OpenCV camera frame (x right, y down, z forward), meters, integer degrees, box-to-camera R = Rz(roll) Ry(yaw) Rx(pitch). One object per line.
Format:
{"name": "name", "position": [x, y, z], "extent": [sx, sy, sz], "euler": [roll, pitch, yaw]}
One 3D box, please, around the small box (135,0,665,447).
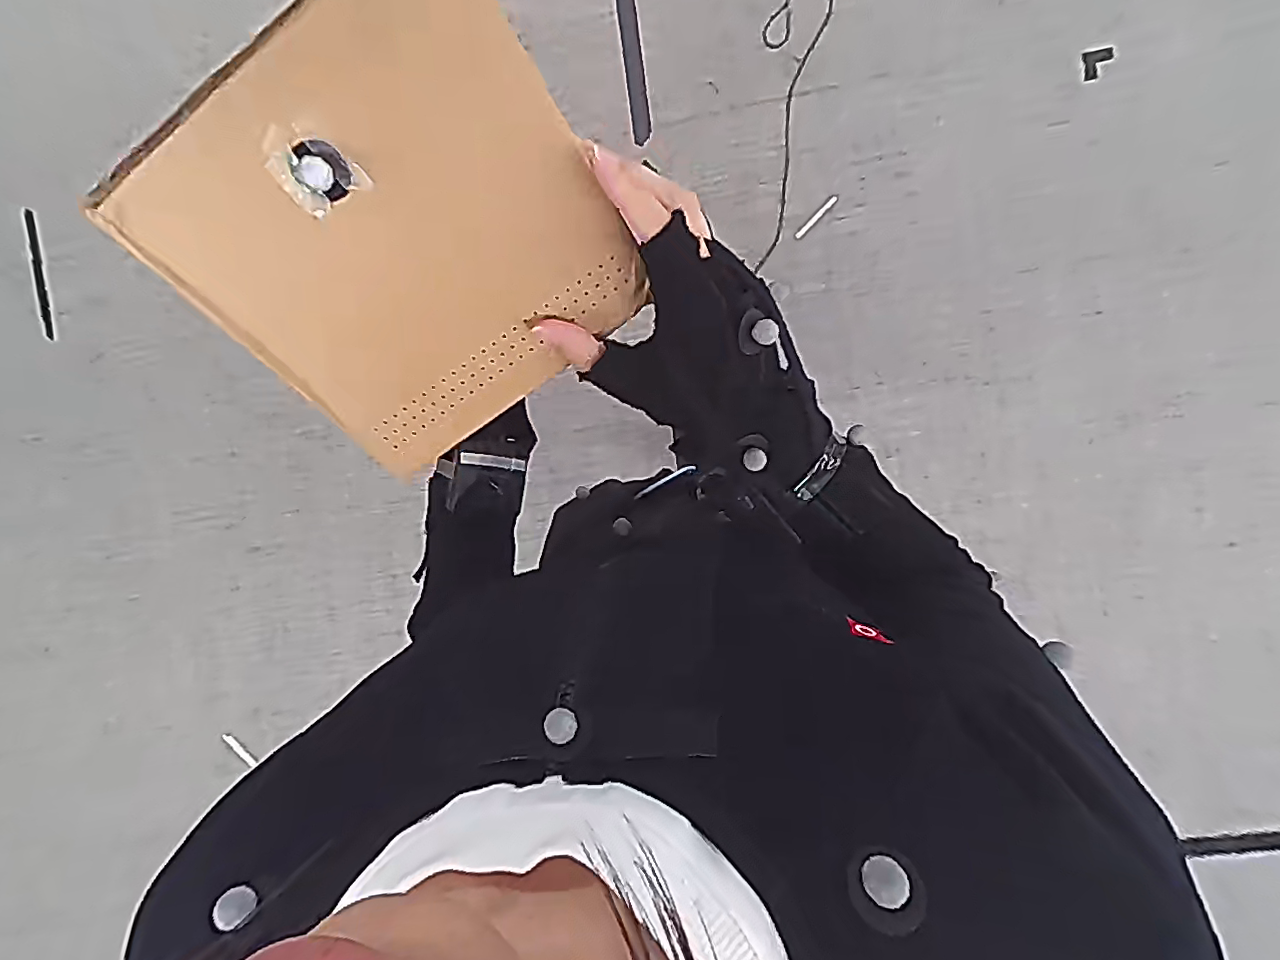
{"name": "small box", "position": [-0.110, -0.150, 0.318], "extent": [0.179, 0.168, 0.176], "euler": [-31, 124, 10]}
